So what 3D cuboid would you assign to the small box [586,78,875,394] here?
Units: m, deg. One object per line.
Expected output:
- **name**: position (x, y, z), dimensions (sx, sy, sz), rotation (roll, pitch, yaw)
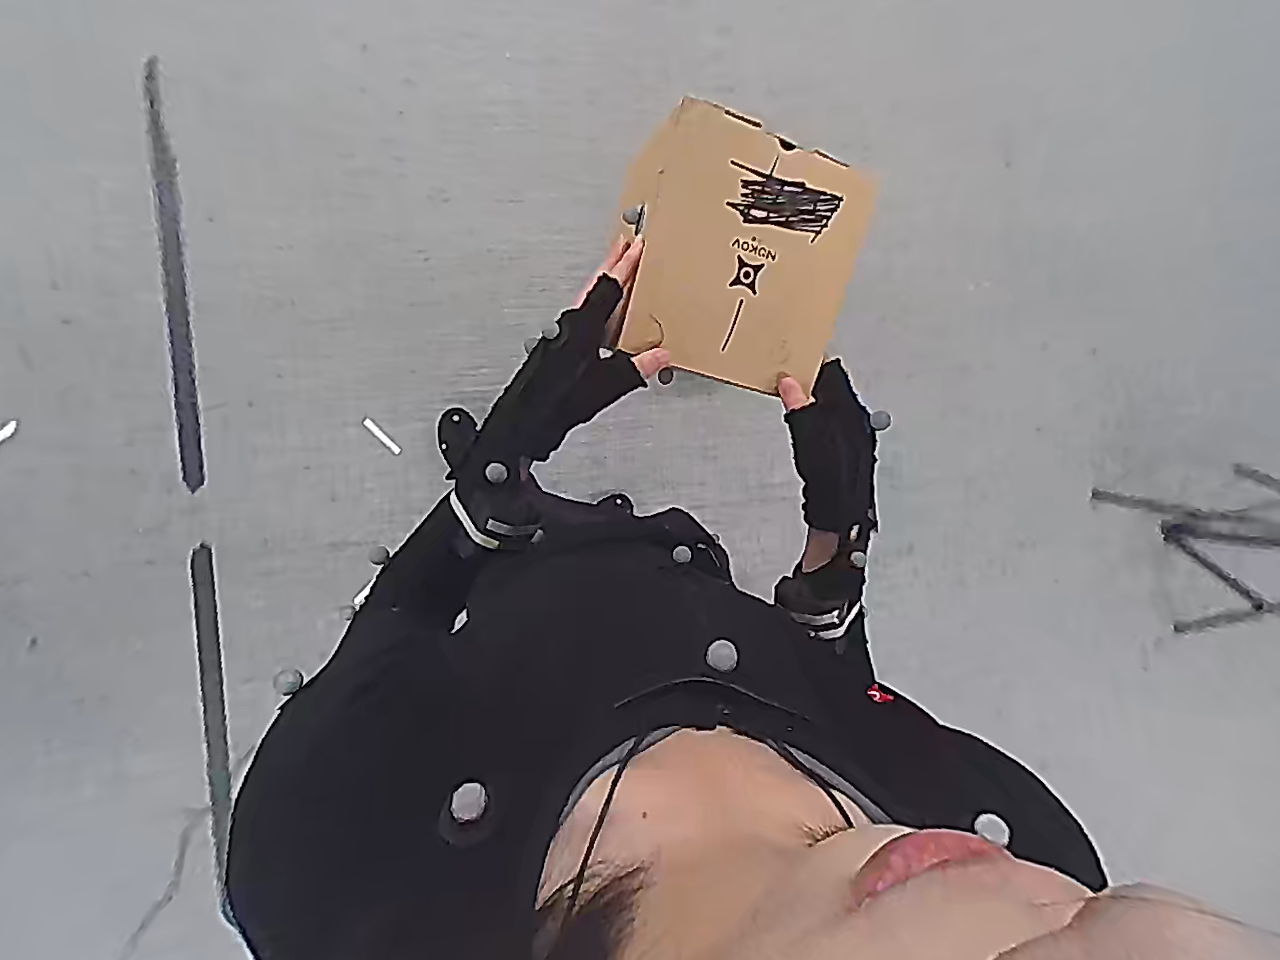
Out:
- **small box**: position (0.057, -0.184, 0.463), dimensions (0.168, 0.176, 0.179), rotation (11, 101, -16)
